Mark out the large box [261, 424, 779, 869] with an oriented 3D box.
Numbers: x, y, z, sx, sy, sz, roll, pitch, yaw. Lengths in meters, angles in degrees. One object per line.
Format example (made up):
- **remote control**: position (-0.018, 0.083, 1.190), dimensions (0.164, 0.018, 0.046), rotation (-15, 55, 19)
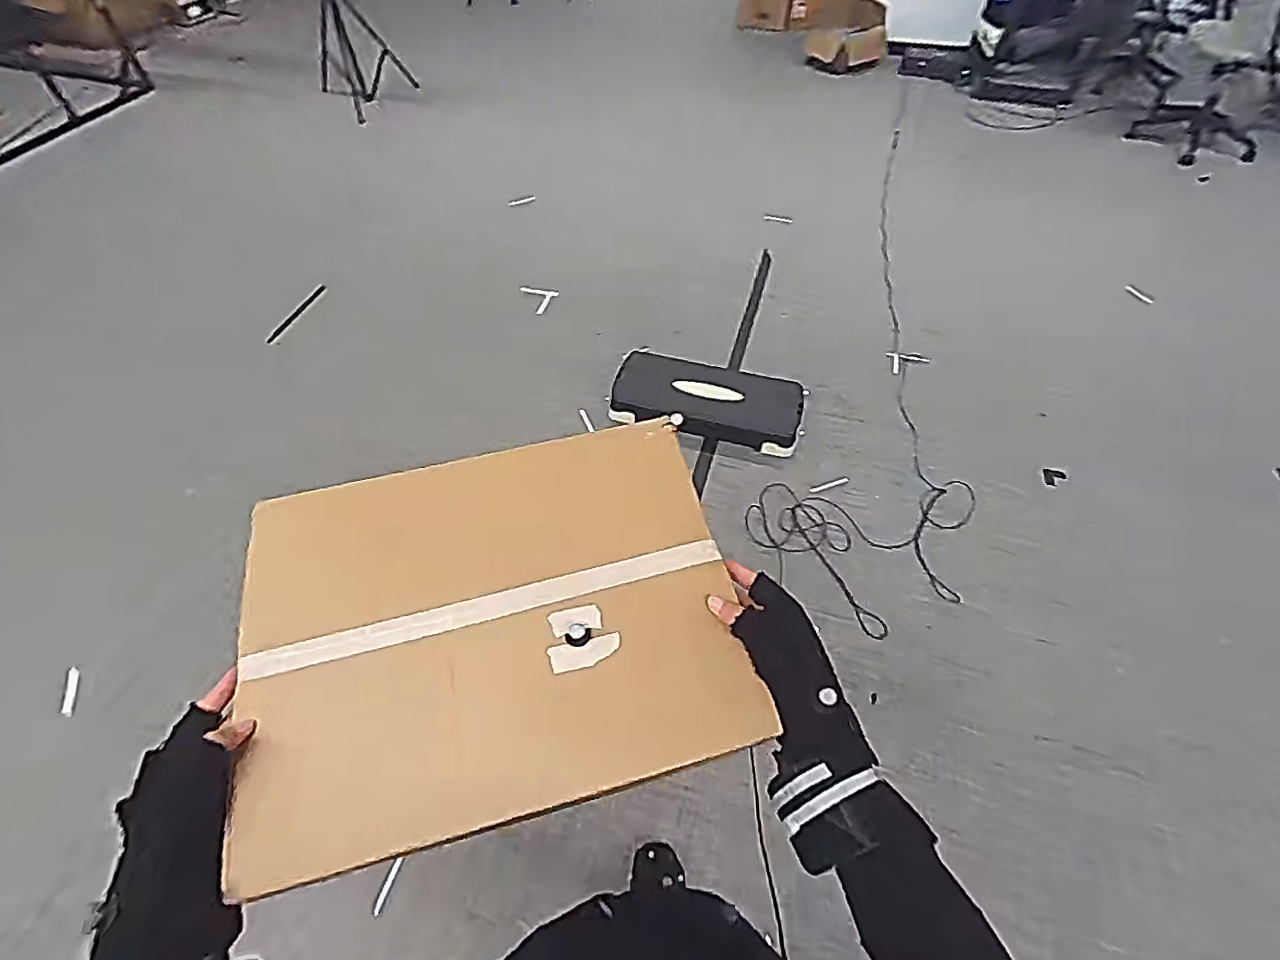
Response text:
- **large box**: position (-0.117, 0.183, 0.608), dimensions (0.408, 0.320, 0.320), rotation (-12, 61, -8)
